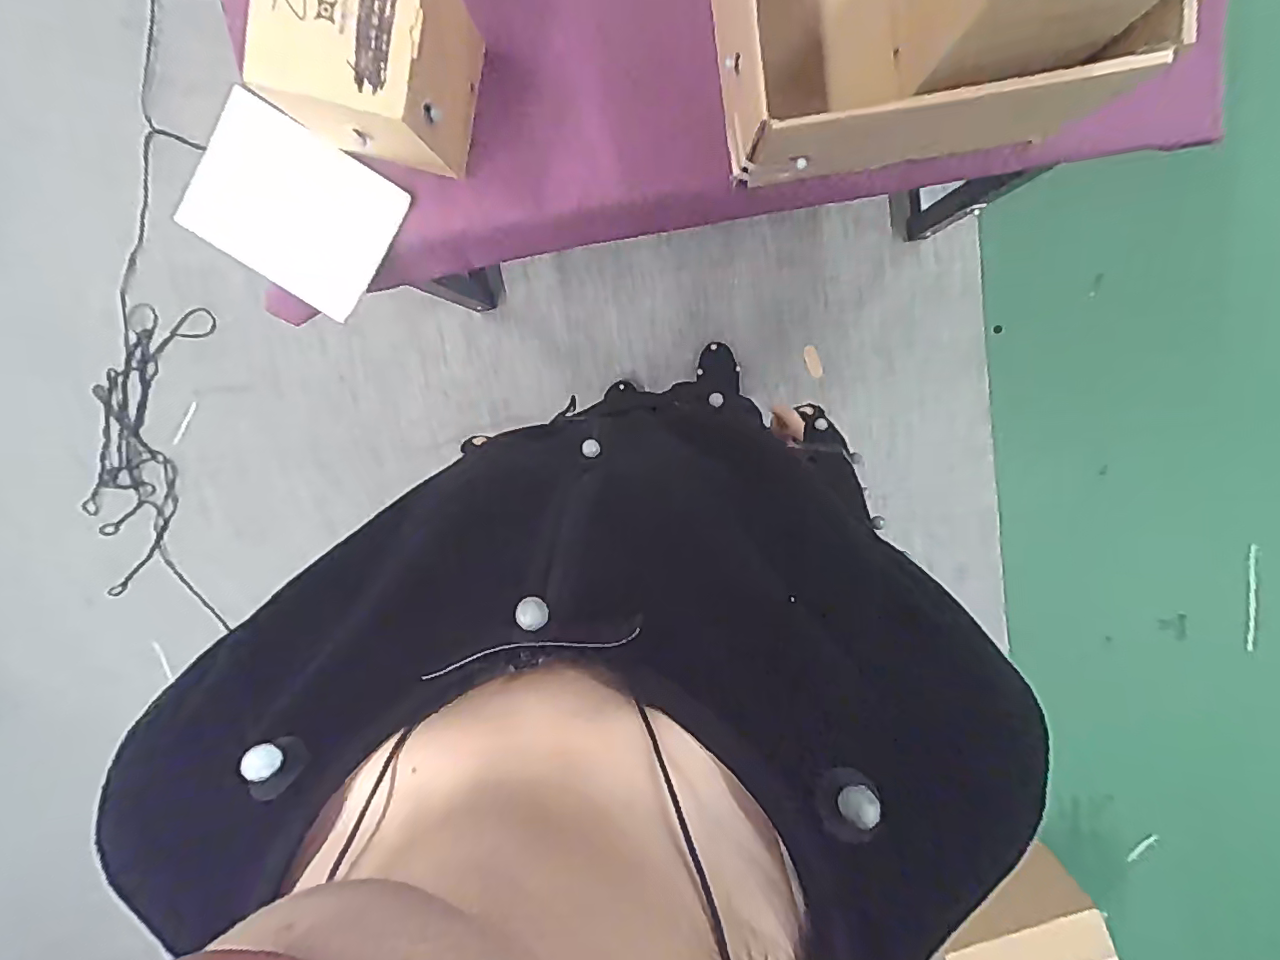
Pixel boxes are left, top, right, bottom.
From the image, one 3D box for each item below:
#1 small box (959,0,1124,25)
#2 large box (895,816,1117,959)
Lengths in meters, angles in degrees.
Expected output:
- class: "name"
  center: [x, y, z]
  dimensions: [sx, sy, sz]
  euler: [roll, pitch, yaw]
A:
- class: "small box"
  center: [0.353, -0.469, 0.375]
  dimensions: [0.179, 0.176, 0.168]
  euler: [-6, 99, 6]
- class: "large box"
  center: [1.022, 1.251, 1.529]
  dimensions: [0.408, 0.320, 0.320]
  euler: [-24, 98, 5]
